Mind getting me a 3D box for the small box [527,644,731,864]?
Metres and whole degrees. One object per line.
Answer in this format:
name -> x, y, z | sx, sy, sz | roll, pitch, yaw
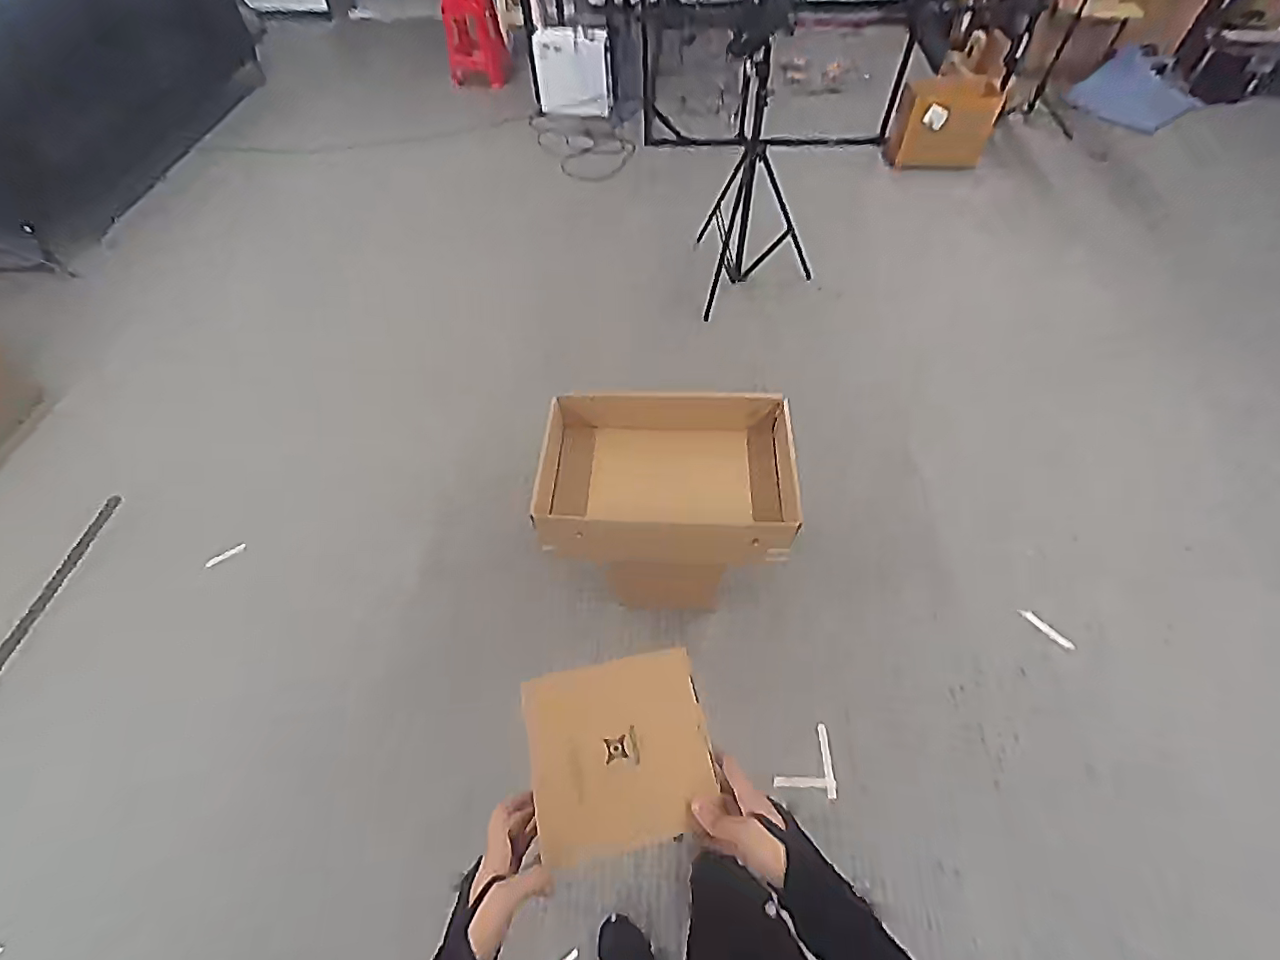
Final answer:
small box -> -0.020, 0.295, 0.597 | 0.179, 0.176, 0.168 | -10, 62, -9
